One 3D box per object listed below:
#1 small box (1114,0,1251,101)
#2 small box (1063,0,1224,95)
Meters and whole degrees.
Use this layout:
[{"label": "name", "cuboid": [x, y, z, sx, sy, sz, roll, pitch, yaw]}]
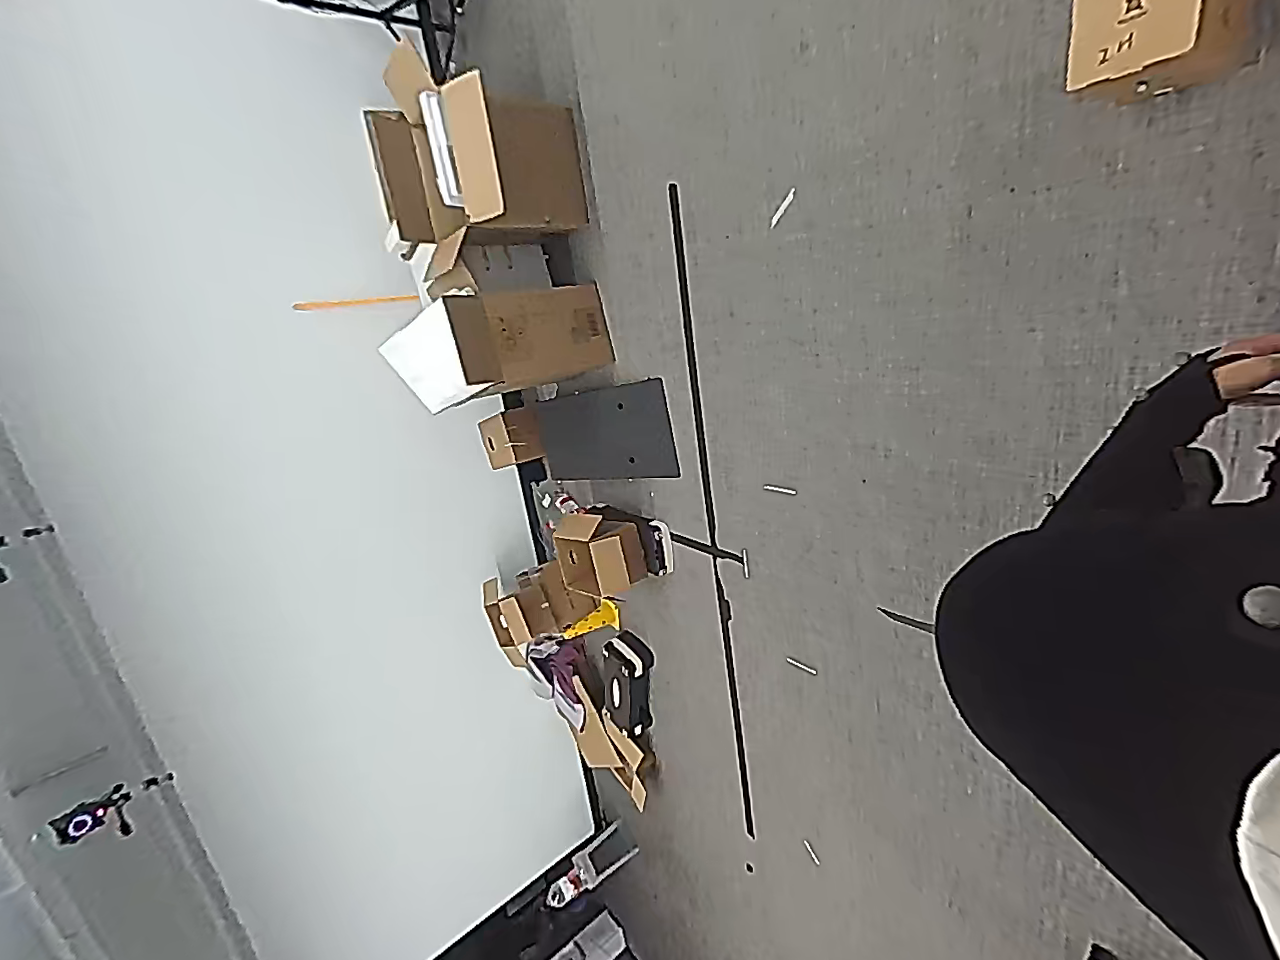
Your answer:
[{"label": "small box", "cuboid": [0.979, -0.829, 0.990, 0.168, 0.176, 0.179, 16, 119, 51]}, {"label": "small box", "cuboid": [0.846, -0.781, 0.906, 0.168, 0.176, 0.179, 16, 119, 52]}]
